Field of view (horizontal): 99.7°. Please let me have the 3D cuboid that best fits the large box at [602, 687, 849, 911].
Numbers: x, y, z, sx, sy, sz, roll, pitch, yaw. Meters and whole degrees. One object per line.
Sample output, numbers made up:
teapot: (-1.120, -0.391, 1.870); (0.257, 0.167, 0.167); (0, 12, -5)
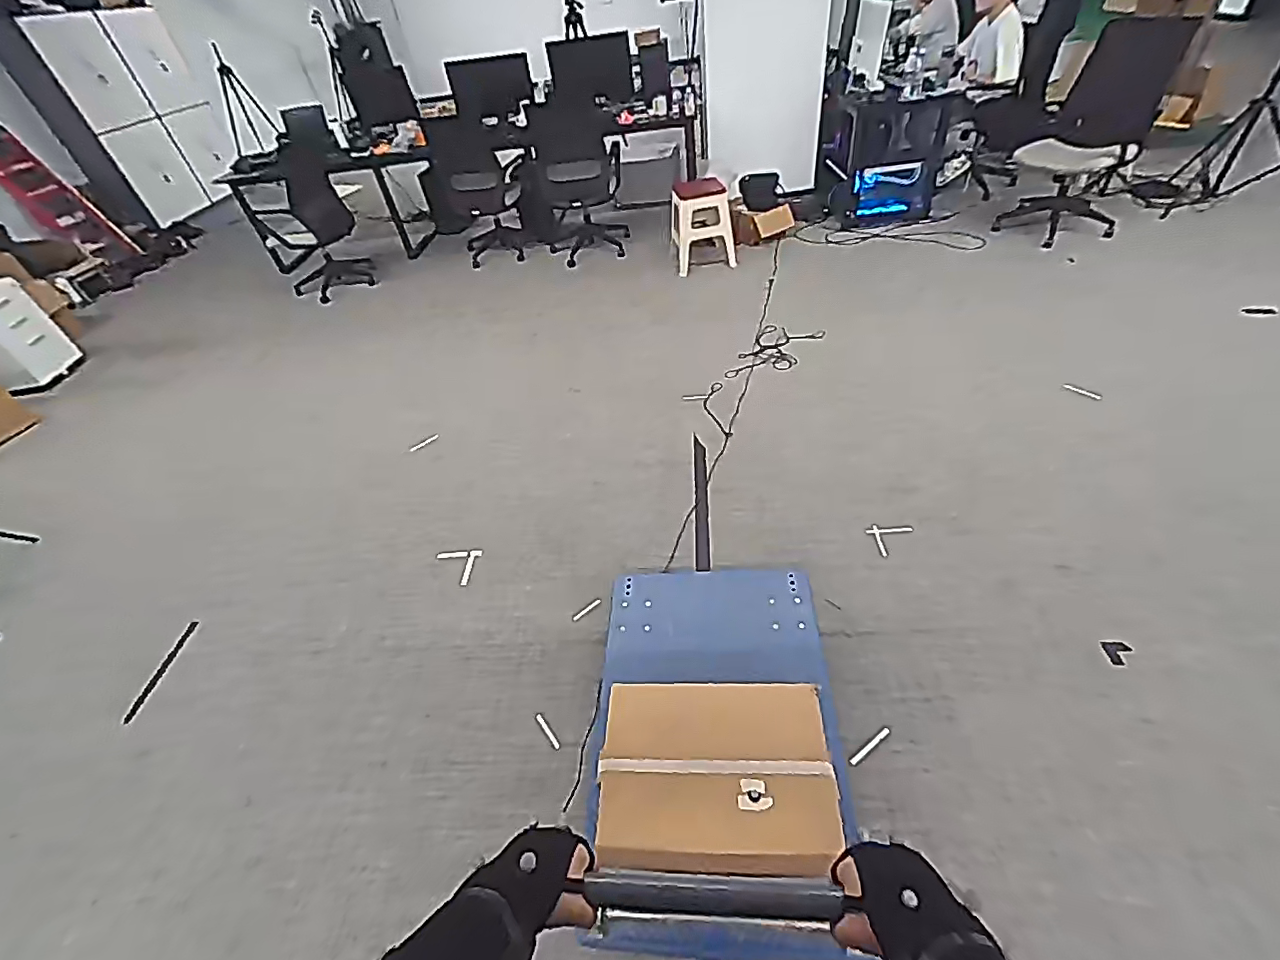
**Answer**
large box: (0.154, 0.631, 1.074); (0.408, 0.320, 0.320); (-2, 44, 6)
